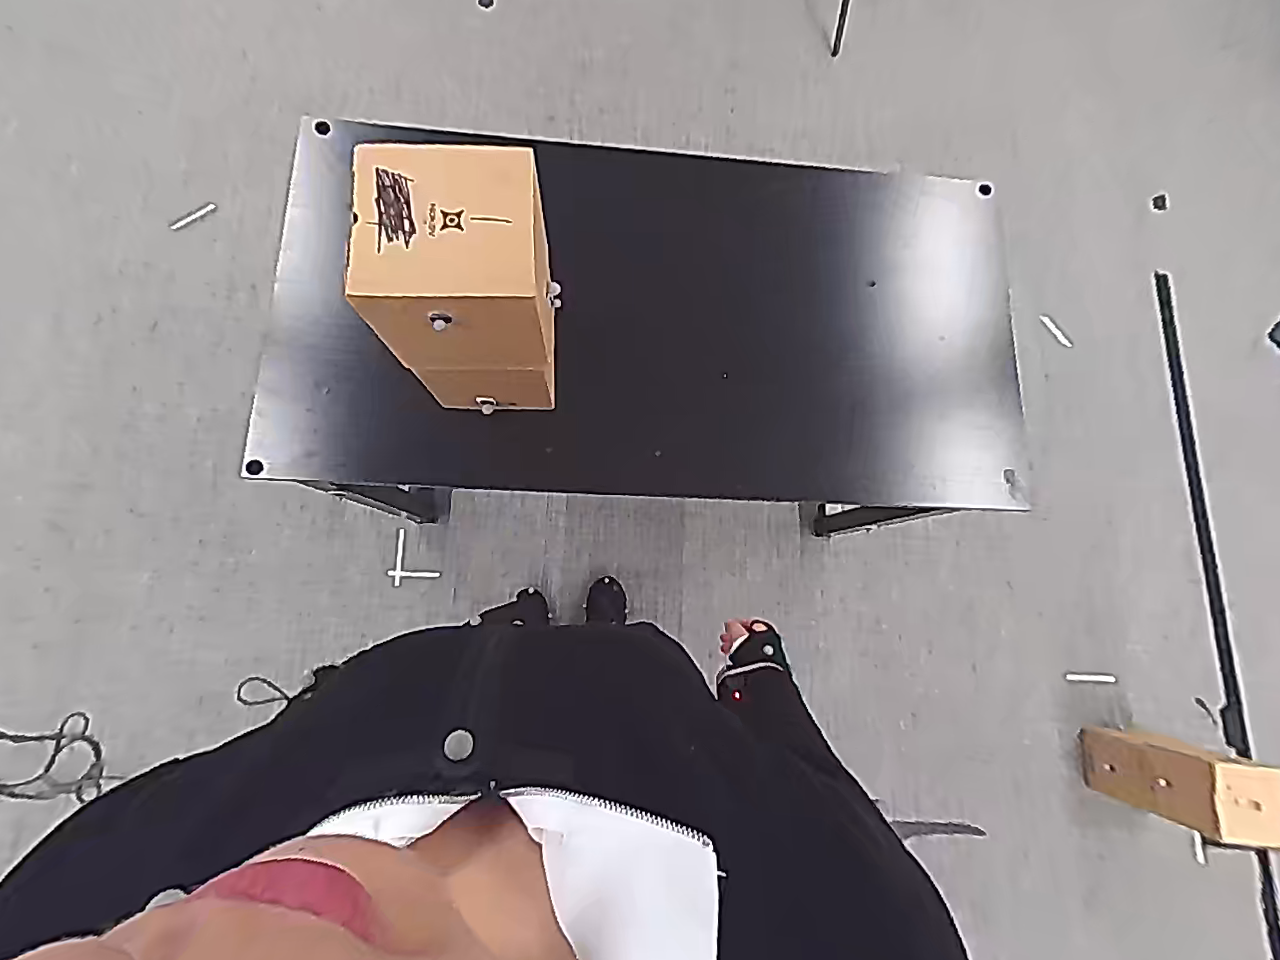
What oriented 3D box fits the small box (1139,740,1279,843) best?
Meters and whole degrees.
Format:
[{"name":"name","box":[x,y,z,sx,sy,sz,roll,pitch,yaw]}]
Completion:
[{"name":"small box","box":[1.362,0.740,1.300,0.179,0.176,0.168,8,78,-3]}]

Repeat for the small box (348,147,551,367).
[{"name":"small box","box":[-0.194,-0.233,0.601,0.179,0.176,0.168,-2,79,-5]}]

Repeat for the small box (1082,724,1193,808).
[{"name":"small box","box":[1.344,0.769,1.462,0.179,0.176,0.168,2,79,-4]}]

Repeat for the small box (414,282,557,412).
[{"name":"small box","box":[-0.207,-0.205,0.763,0.168,0.176,0.179,-2,80,-5]}]
